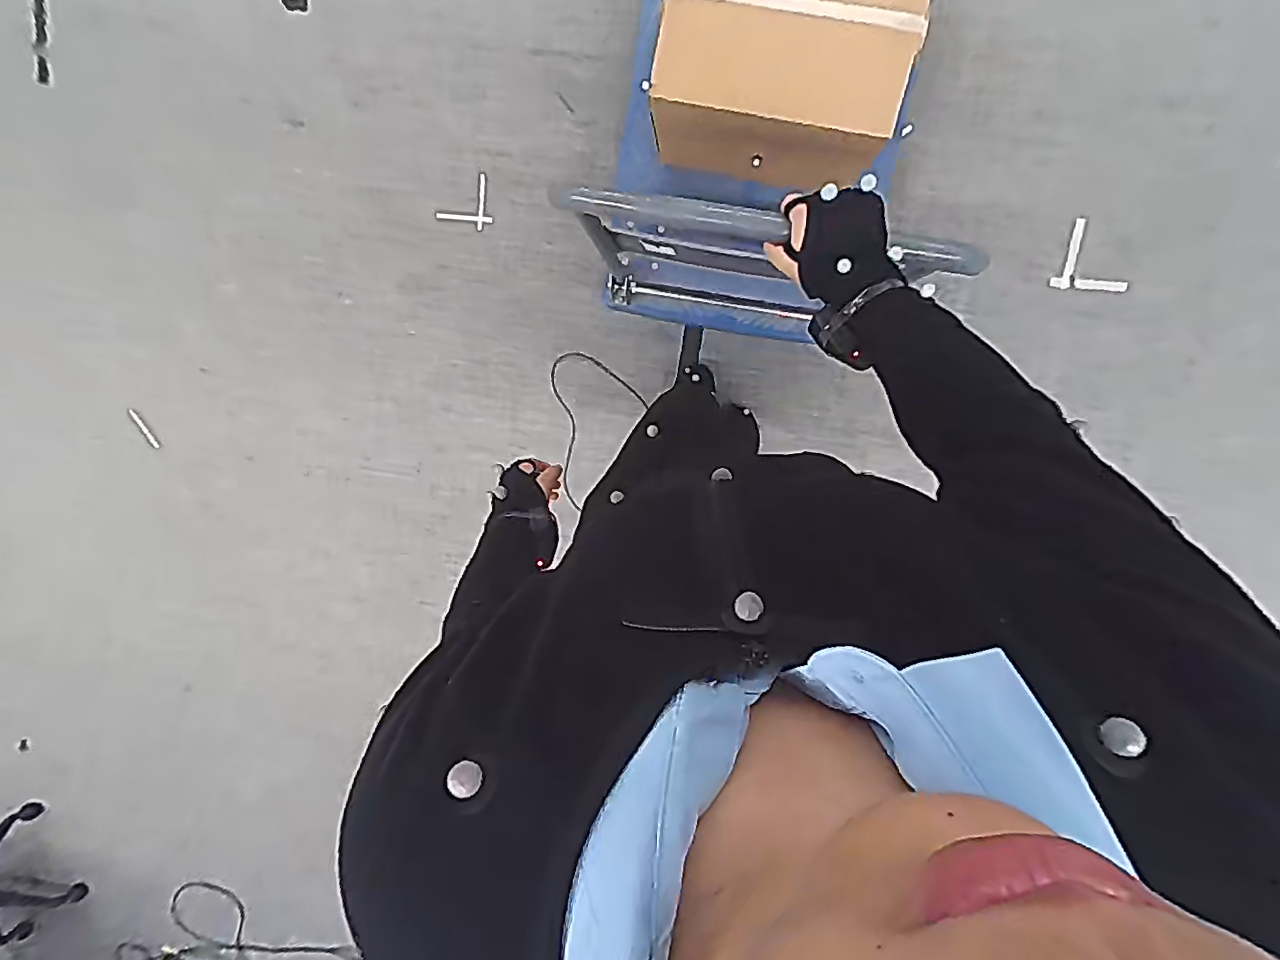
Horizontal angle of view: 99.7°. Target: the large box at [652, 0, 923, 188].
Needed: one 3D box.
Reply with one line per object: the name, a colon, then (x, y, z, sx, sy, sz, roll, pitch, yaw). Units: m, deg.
large box: (0.259, -0.778, 1.004, 0.408, 0.320, 0.320, 13, 102, 4)
